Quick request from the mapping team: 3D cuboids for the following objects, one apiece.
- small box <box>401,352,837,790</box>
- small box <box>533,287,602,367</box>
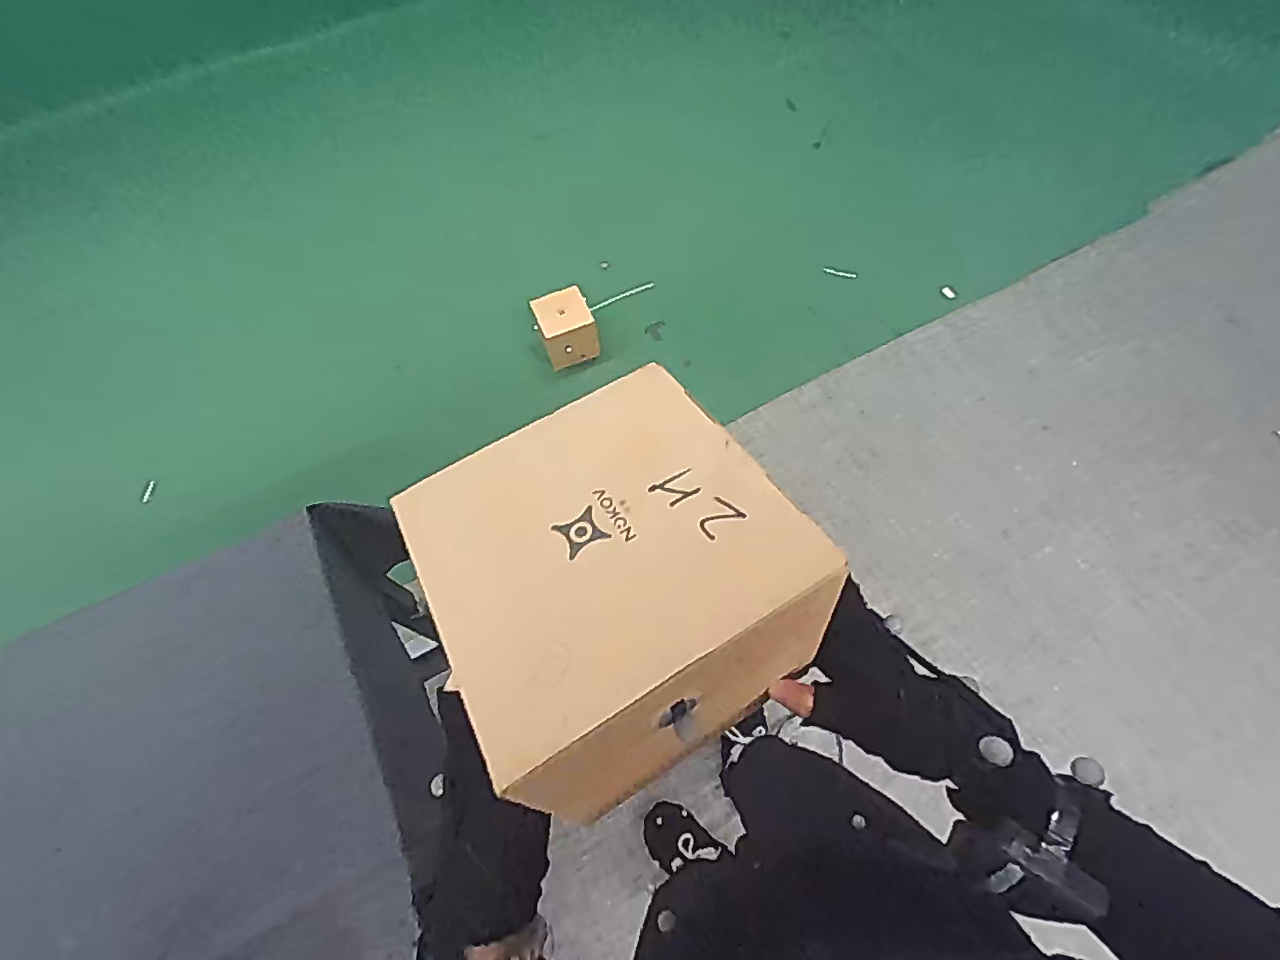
[{"bbox_3d":[-0.010,0.061,0.334,0.179,0.176,0.168,-28,55,-12],"label":"small box"},{"bbox_3d":[-0.236,-0.499,1.800,0.168,0.176,0.179,-22,63,-8],"label":"small box"}]
